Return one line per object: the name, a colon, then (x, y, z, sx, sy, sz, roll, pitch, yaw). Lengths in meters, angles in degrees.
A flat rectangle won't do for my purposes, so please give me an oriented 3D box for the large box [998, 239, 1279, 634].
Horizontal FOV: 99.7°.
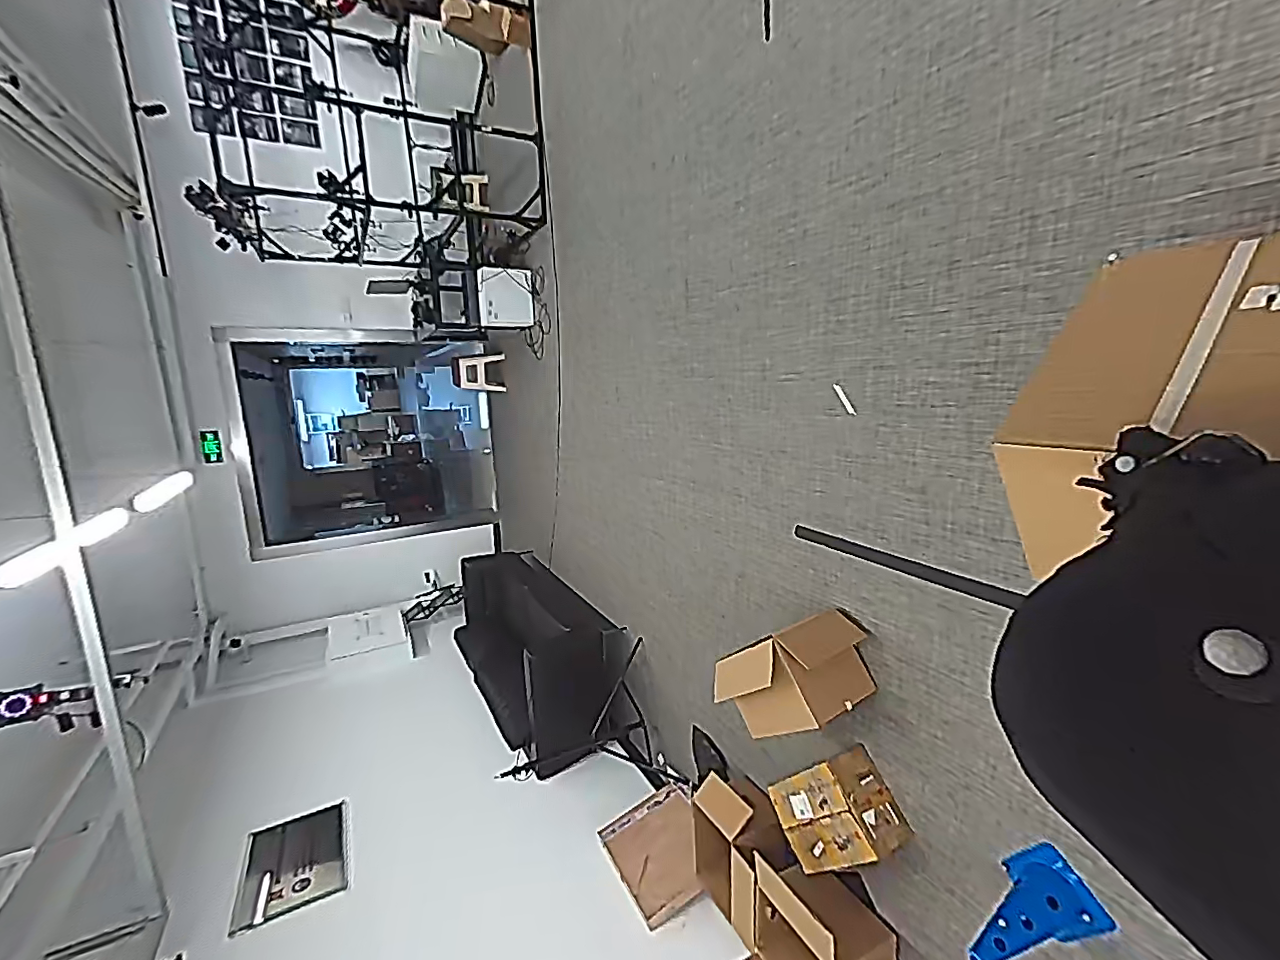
large box: (0.764, -0.065, 0.728, 0.320, 0.408, 0.320, 15, 148, 56)
